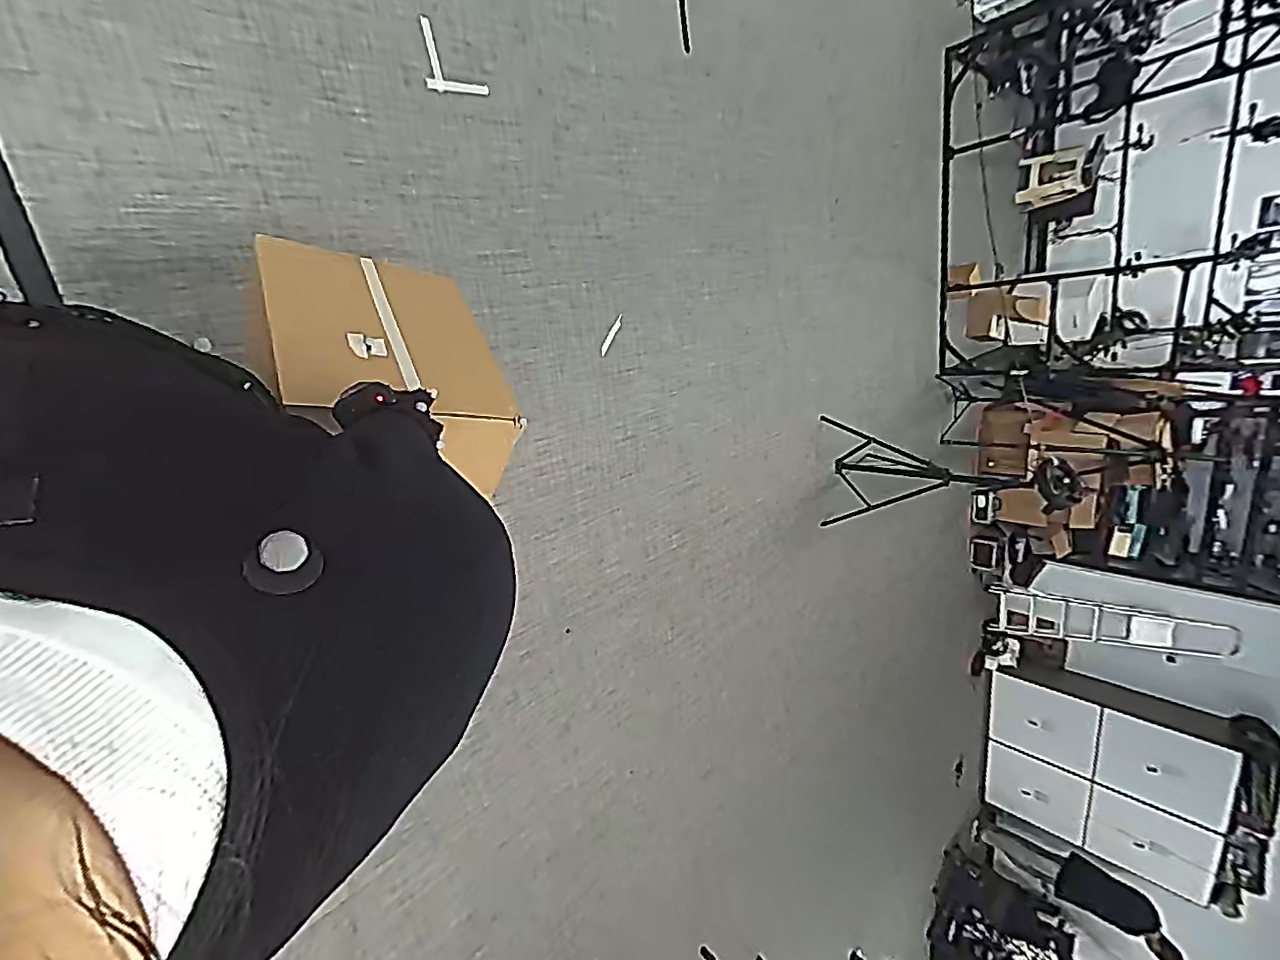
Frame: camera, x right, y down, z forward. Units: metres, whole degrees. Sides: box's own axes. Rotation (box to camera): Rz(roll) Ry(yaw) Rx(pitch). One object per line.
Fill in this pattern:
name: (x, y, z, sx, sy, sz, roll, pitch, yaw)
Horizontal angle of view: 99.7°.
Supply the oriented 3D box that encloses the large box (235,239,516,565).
large box: (-0.462, -0.120, 0.901, 0.320, 0.408, 0.320, -2, 139, -40)
